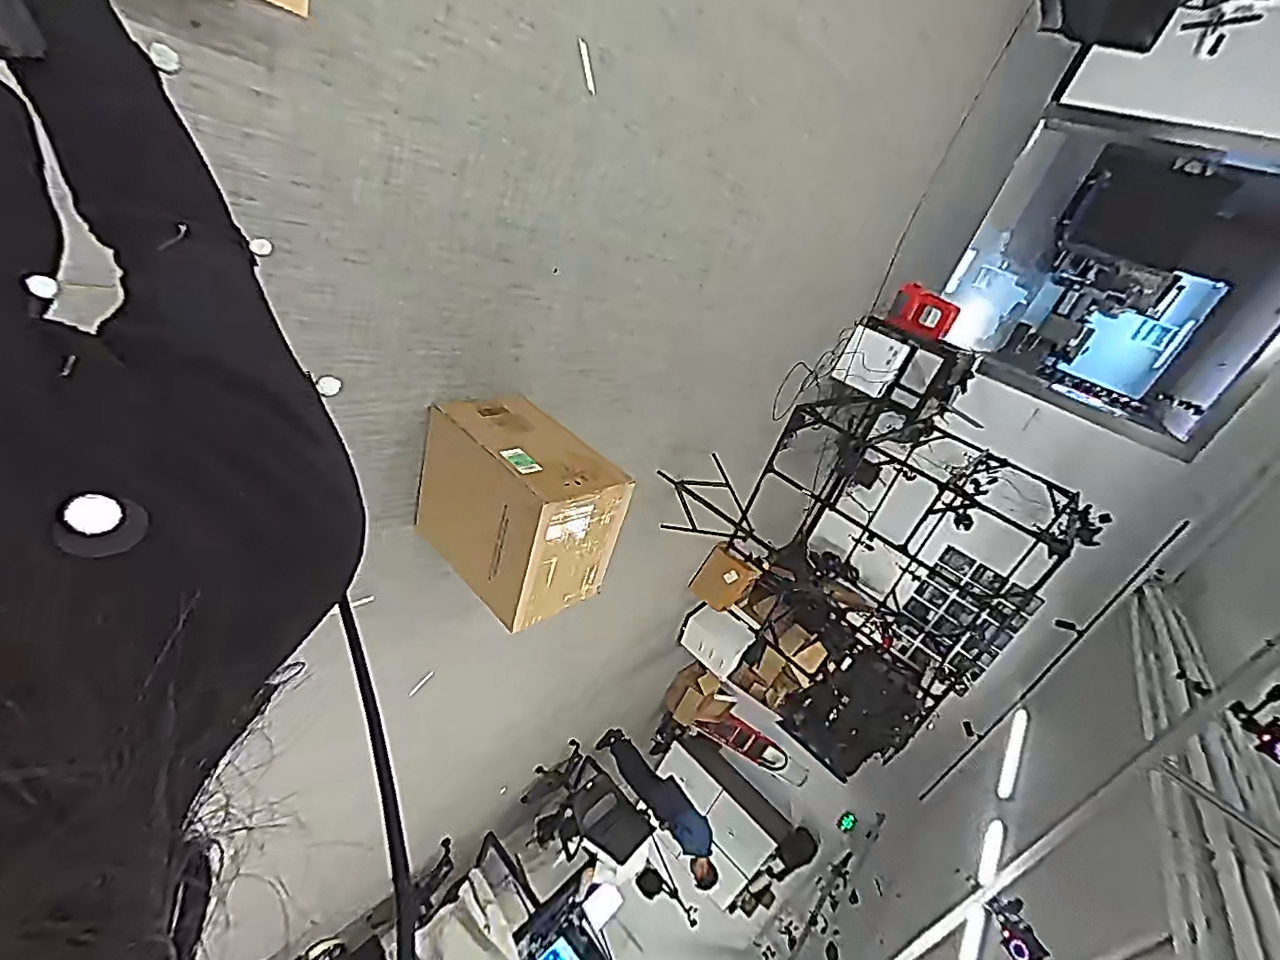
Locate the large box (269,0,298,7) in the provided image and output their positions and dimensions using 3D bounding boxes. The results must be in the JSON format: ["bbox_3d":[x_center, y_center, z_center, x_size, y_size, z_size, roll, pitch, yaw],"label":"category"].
[{"bbox_3d":[-0.738,-0.931,0.725,0.408,0.320,0.320,-16,135,-51],"label":"large box"}]
